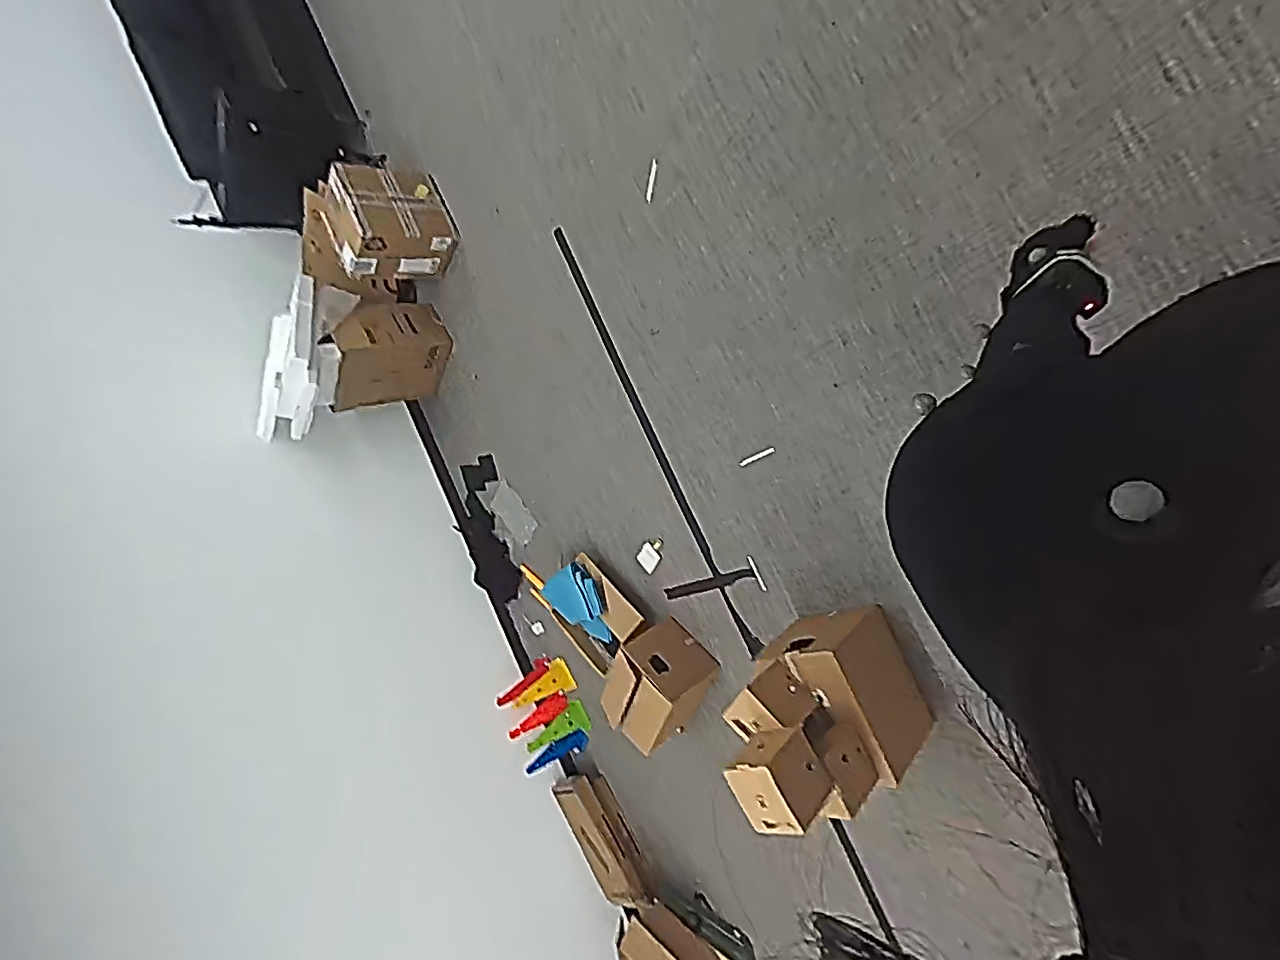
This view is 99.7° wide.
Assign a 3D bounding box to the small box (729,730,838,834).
[{"bbox_3d":[0.368,0.764,1.385,0.168,0.176,0.179,-39,77,47],"label":"small box"}]

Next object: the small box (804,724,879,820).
[{"bbox_3d":[0.523,0.788,1.478,0.179,0.176,0.168,-33,79,50],"label":"small box"}]

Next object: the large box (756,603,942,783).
[{"bbox_3d":[0.641,0.645,1.662,0.320,0.320,0.408,-32,81,48],"label":"large box"}]
